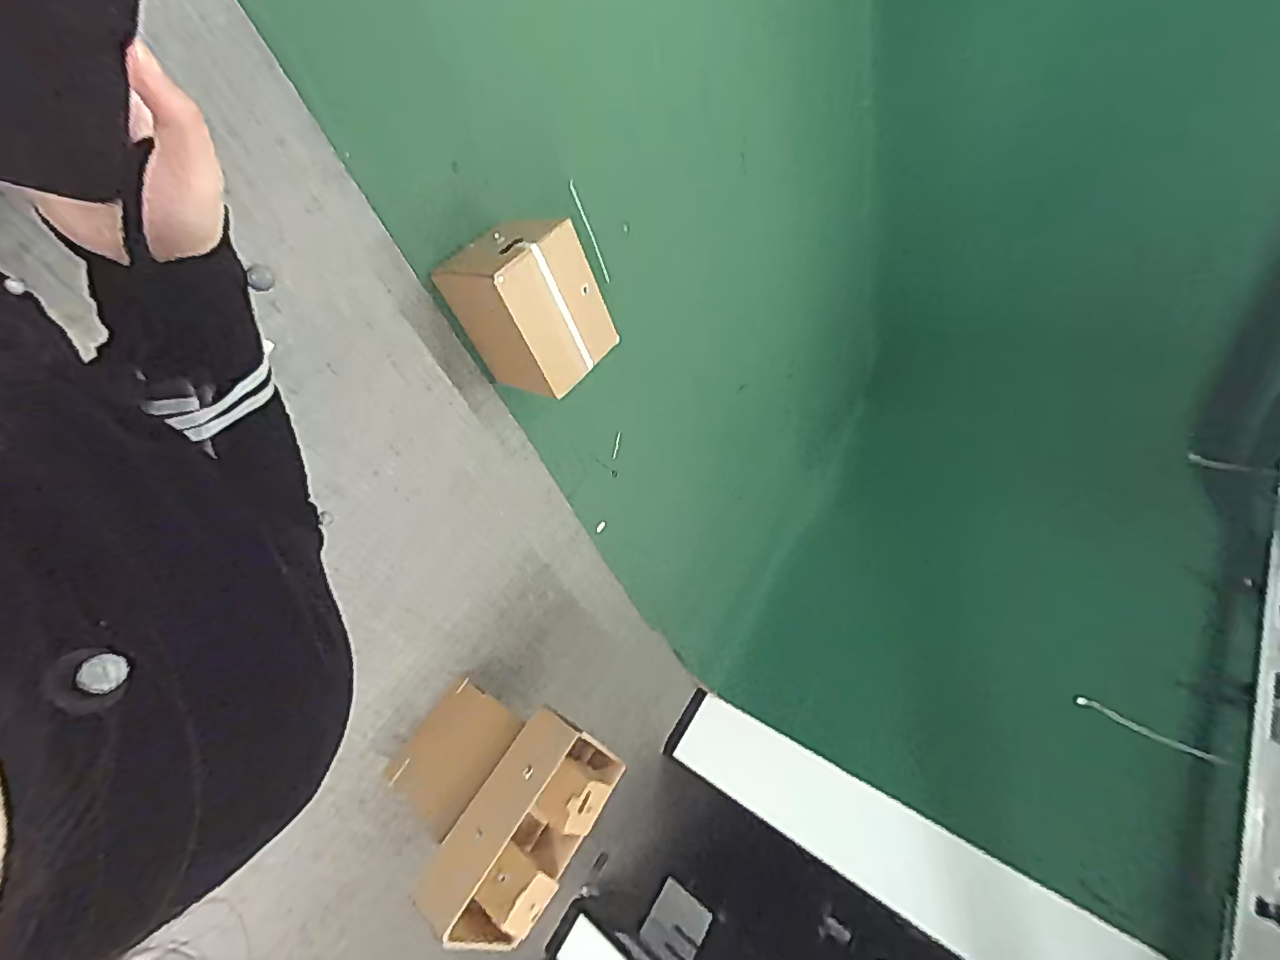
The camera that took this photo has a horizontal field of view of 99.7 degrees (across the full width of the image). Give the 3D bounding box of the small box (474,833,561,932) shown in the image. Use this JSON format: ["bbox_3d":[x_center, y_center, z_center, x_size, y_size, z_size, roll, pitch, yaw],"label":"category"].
[{"bbox_3d":[-0.382,1.243,1.679,0.168,0.176,0.179,-46,136,-28],"label":"small box"}]
